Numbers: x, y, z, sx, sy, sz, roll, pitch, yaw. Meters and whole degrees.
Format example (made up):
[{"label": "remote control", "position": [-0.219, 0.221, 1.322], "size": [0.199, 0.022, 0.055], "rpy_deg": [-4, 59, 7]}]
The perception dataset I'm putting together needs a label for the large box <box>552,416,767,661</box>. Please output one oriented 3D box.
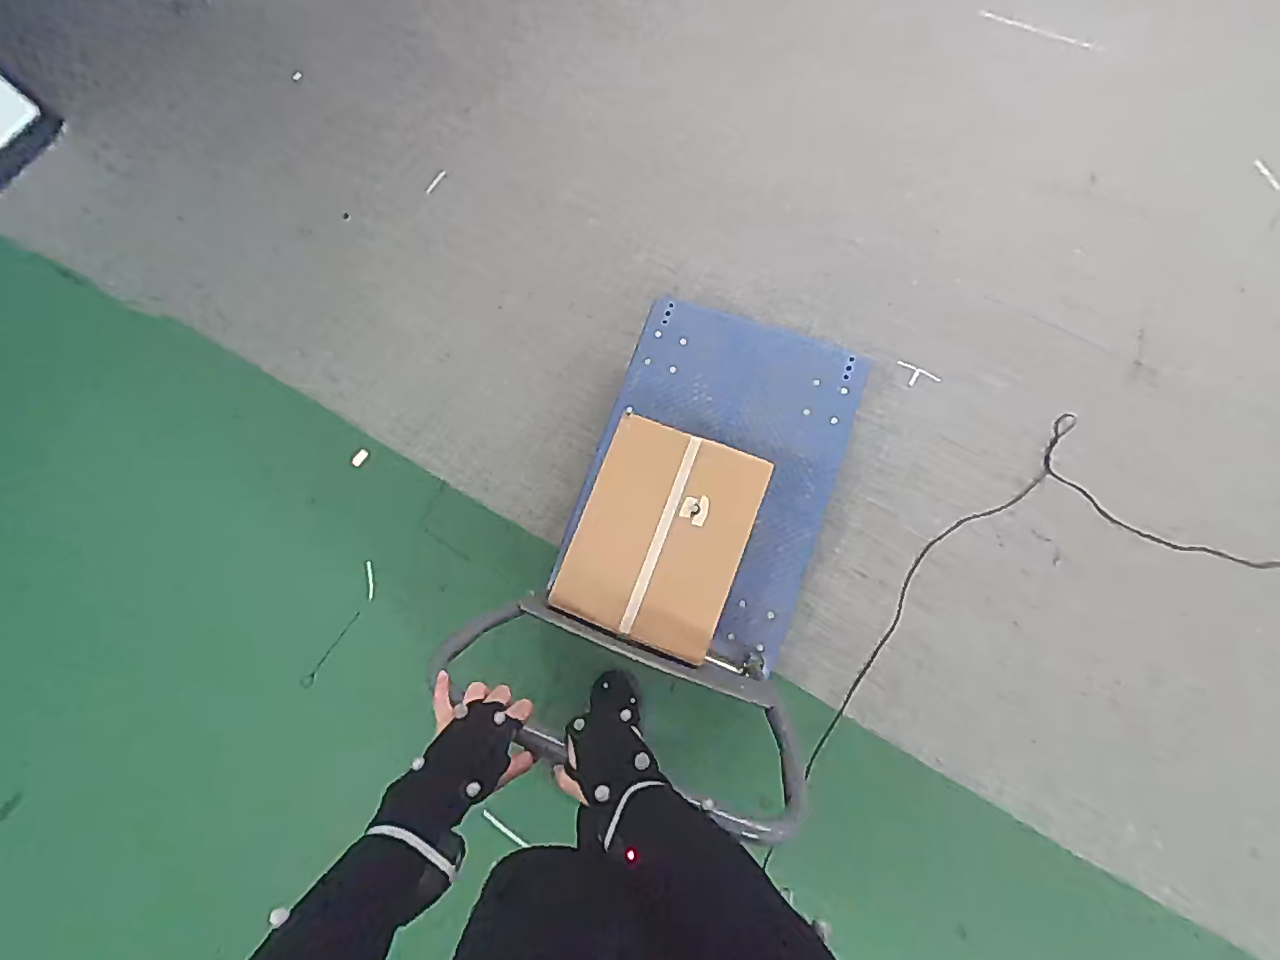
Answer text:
[{"label": "large box", "position": [0.051, 0.131, 1.182], "size": [0.320, 0.320, 0.408], "rpy_deg": [20, 82, 8]}]
